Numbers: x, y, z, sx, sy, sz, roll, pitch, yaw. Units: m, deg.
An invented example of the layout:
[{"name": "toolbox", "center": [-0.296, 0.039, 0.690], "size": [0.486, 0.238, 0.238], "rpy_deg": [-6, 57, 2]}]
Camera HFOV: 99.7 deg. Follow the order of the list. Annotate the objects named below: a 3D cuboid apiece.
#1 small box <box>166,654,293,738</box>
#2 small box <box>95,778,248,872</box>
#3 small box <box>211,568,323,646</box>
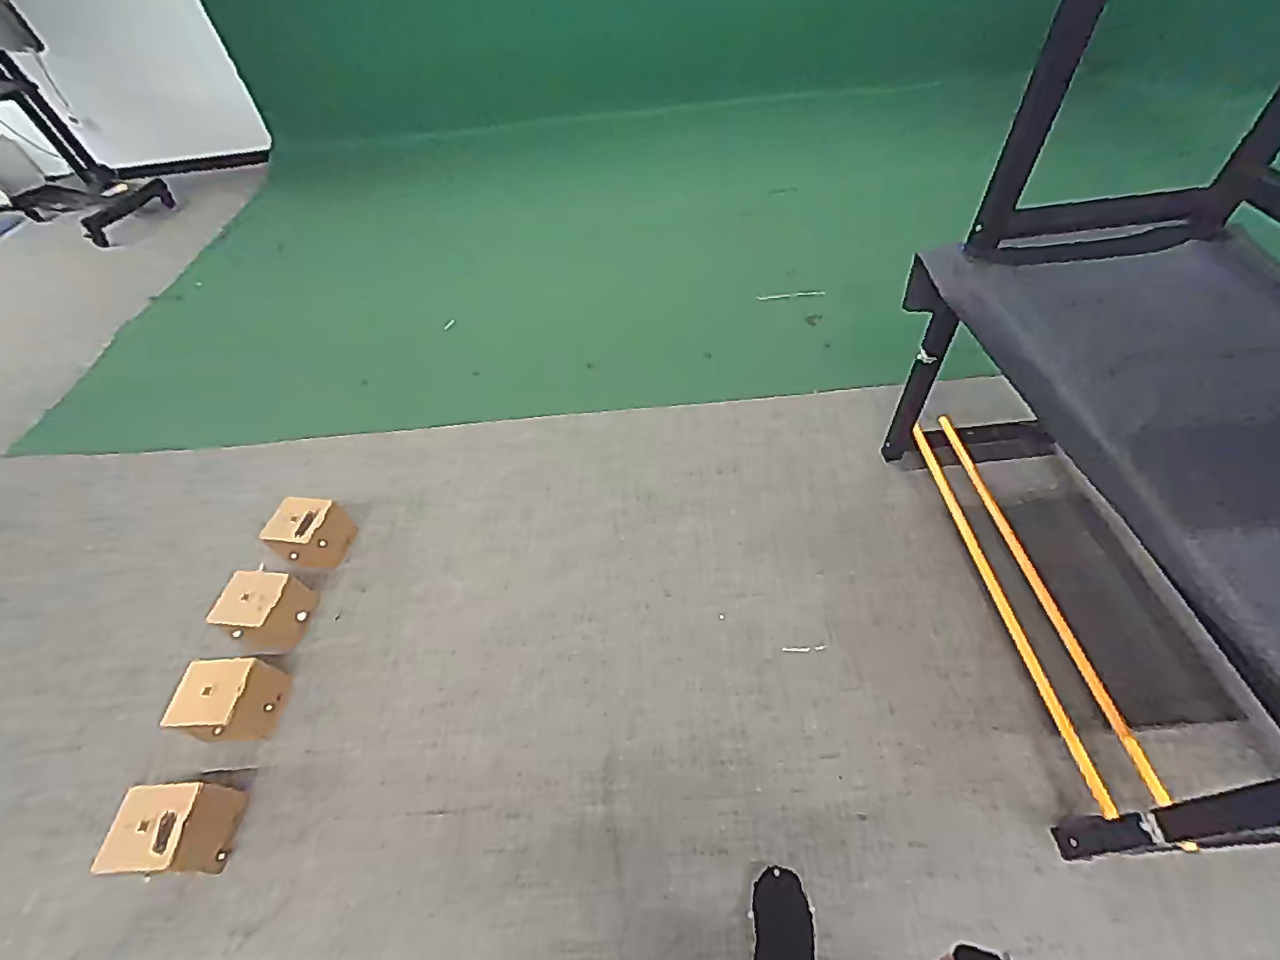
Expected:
[{"name": "small box", "center": [-1.078, 0.577, 1.437], "size": [0.179, 0.176, 0.168], "rpy_deg": [-4, 51, 3]}, {"name": "small box", "center": [-1.067, 0.801, 1.252], "size": [0.179, 0.176, 0.168], "rpy_deg": [-5, 51, 3]}, {"name": "small box", "center": [-1.093, 0.378, 1.599], "size": [0.179, 0.176, 0.168], "rpy_deg": [2, 52, 7]}]
